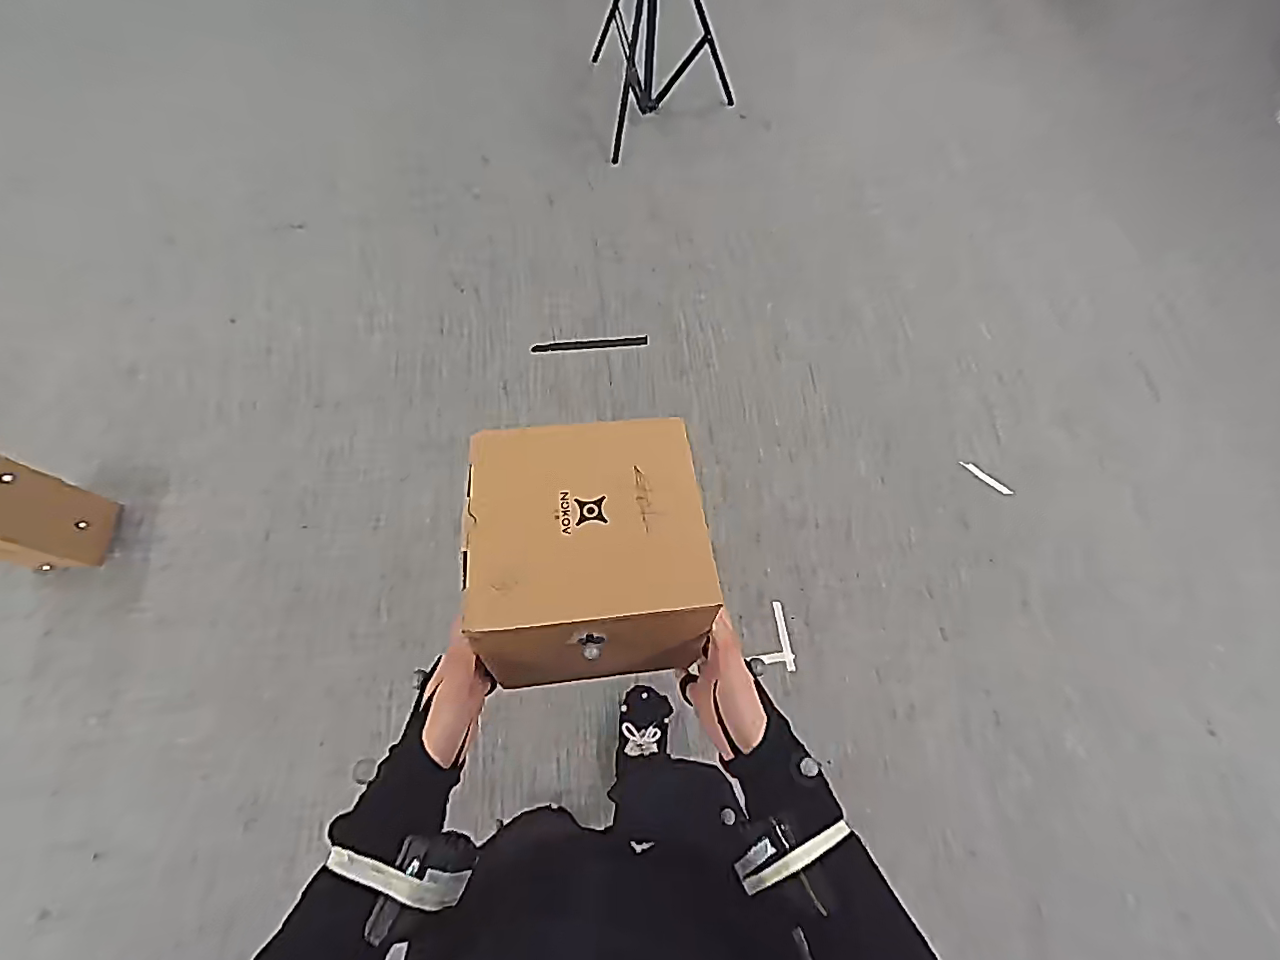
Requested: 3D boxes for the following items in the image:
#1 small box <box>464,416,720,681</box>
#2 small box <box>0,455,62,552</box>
[{"bbox_3d":[-0.044,0.065,0.470,0.179,0.176,0.168,-5,58,-8],"label":"small box"},{"bbox_3d":[-1.448,0.052,1.185,0.168,0.176,0.179,-1,69,-2],"label":"small box"}]
